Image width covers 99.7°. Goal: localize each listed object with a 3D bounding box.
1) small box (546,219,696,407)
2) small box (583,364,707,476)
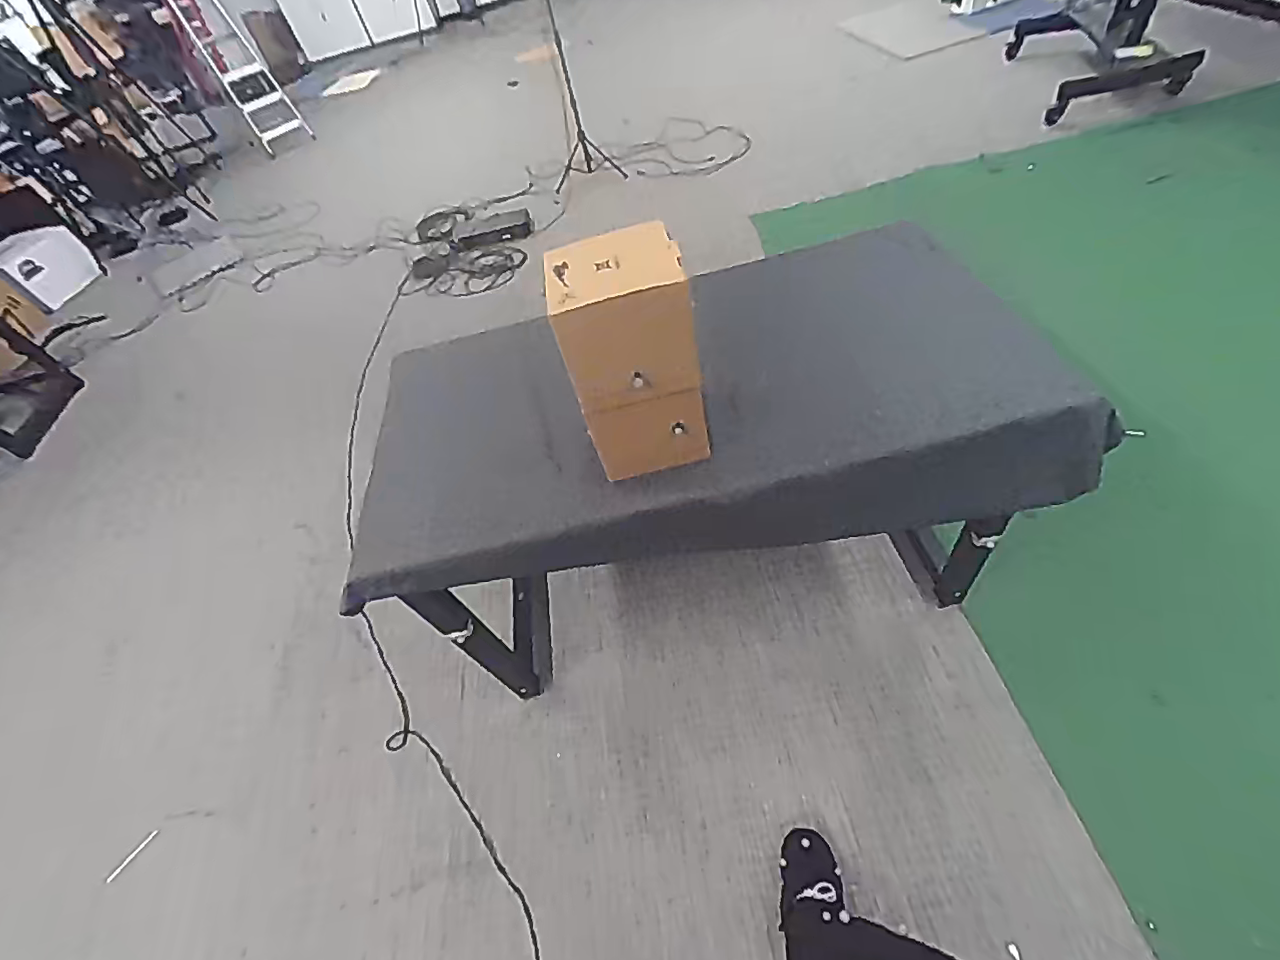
[{"bbox_3d":[-0.022,-0.229,0.758,0.179,0.176,0.168,-13,50,3],"label":"small box"},{"bbox_3d":[0.007,-0.133,0.888,0.179,0.176,0.168,-15,50,4],"label":"small box"}]
